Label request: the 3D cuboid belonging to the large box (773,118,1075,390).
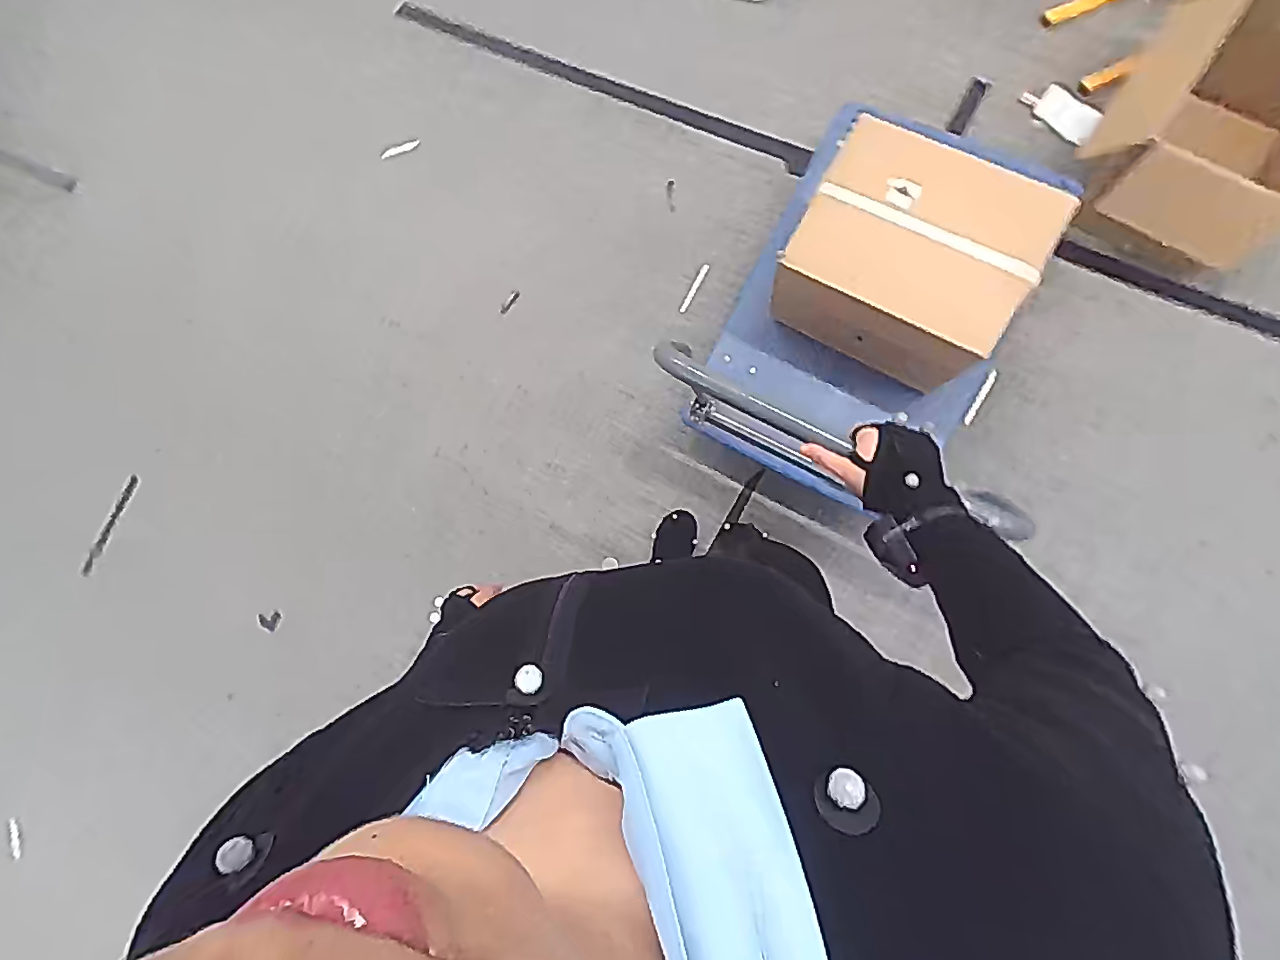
[{"bbox_3d":[0.527,-0.429,1.102,0.408,0.320,0.320,30,92,12],"label":"large box"}]
